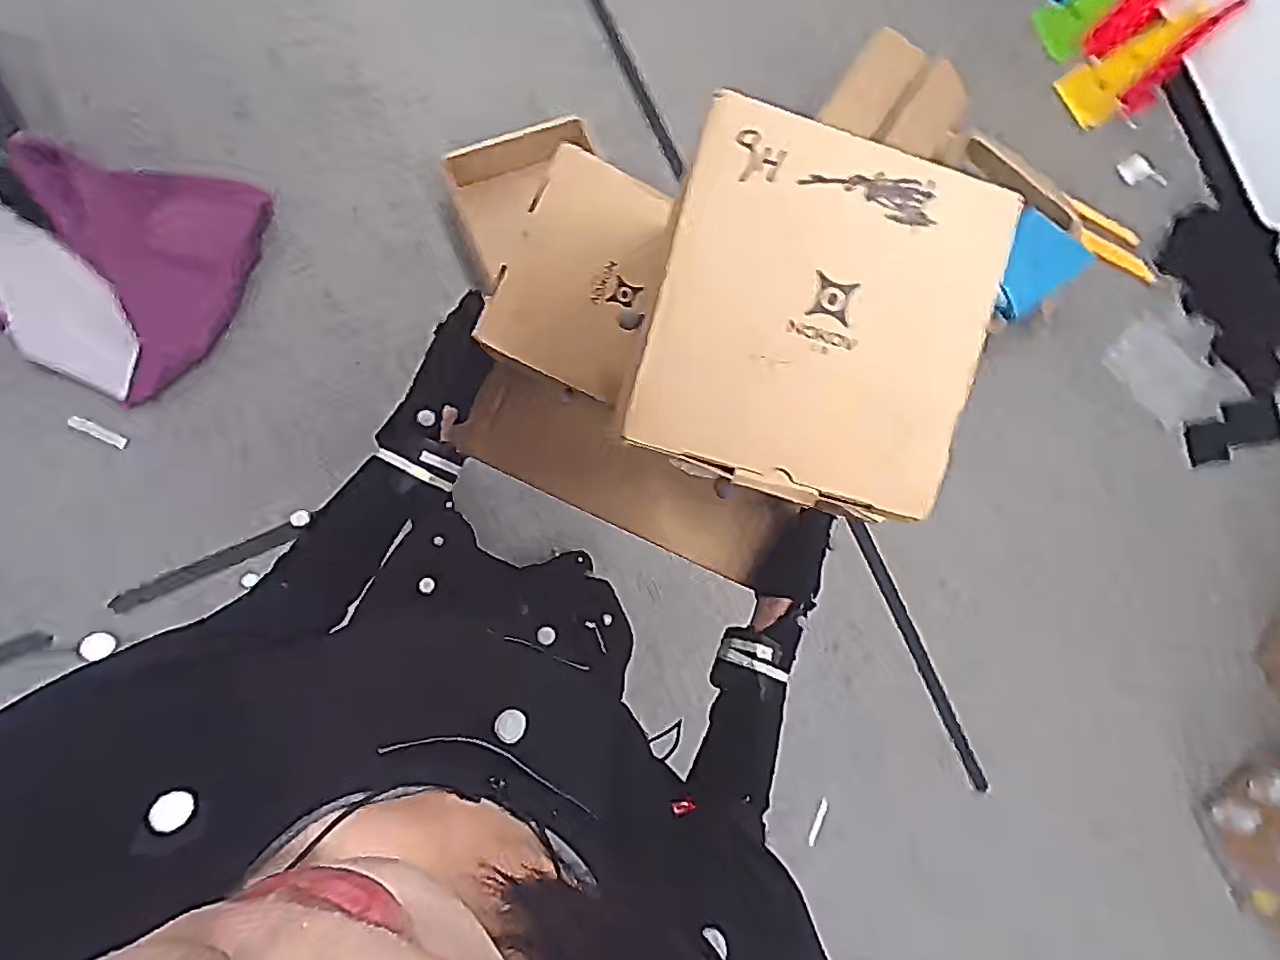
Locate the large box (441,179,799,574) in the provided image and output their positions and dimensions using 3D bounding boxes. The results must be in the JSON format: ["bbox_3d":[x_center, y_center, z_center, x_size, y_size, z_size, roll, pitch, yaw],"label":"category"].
[{"bbox_3d":[0.006,-0.115,0.746,0.408,0.320,0.320,25,92,-8],"label":"large box"}]

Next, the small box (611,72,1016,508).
[{"bbox_3d":[0.081,-0.095,0.346,0.168,0.176,0.179,15,93,-6],"label":"small box"}]
